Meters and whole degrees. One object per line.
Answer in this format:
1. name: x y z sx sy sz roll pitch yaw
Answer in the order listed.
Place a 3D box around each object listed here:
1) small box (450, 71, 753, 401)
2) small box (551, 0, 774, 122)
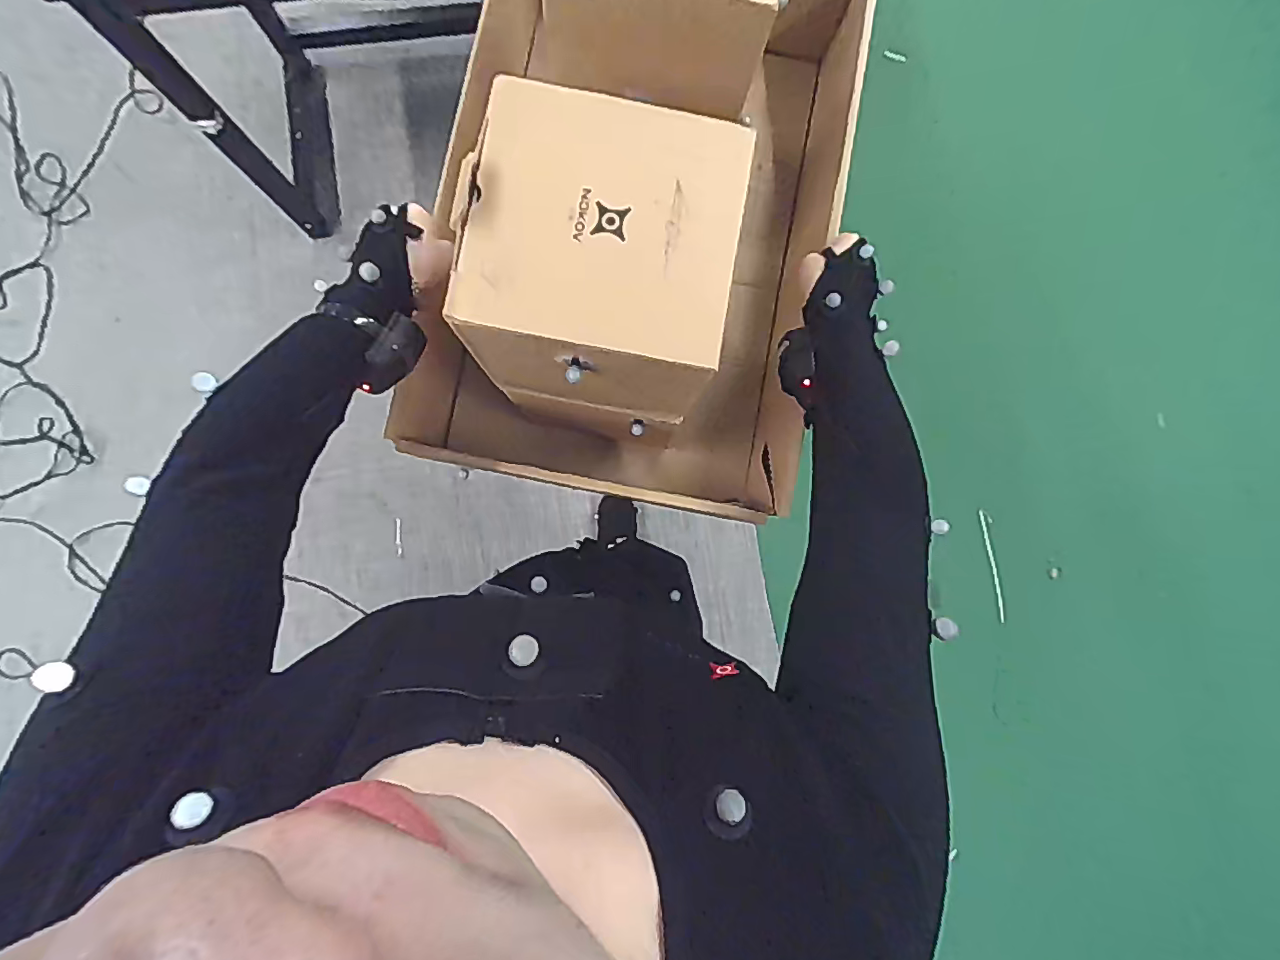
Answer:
1. small box: -0.029 -0.168 0.432 0.179 0.176 0.168 10 87 -5
2. small box: 0.023 -0.418 0.444 0.168 0.176 0.179 12 89 -4
